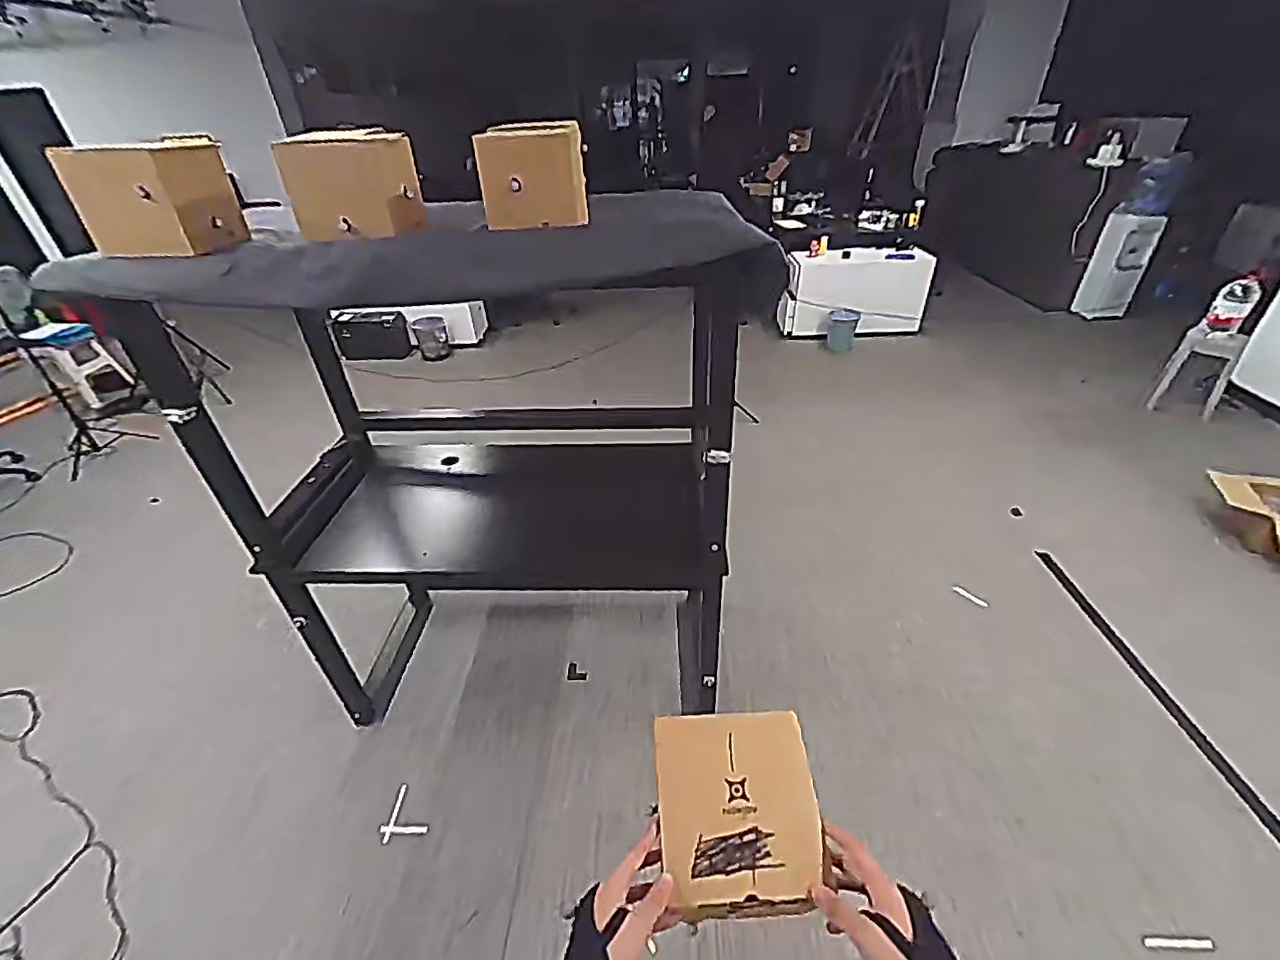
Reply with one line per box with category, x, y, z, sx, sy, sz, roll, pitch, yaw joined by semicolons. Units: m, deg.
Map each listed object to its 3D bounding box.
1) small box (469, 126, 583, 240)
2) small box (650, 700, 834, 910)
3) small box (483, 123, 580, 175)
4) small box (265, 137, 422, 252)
small box;-0.198;-0.546;1.000;0.168;0.176;0.179;-3;34;1
small box;0.100;0.371;0.612;0.168;0.176;0.179;-3;47;-1
small box;-0.236;-0.709;1.235;0.179;0.176;0.168;-1;36;3
small box;-0.521;-0.522;0.986;0.179;0.176;0.168;-1;33;1
